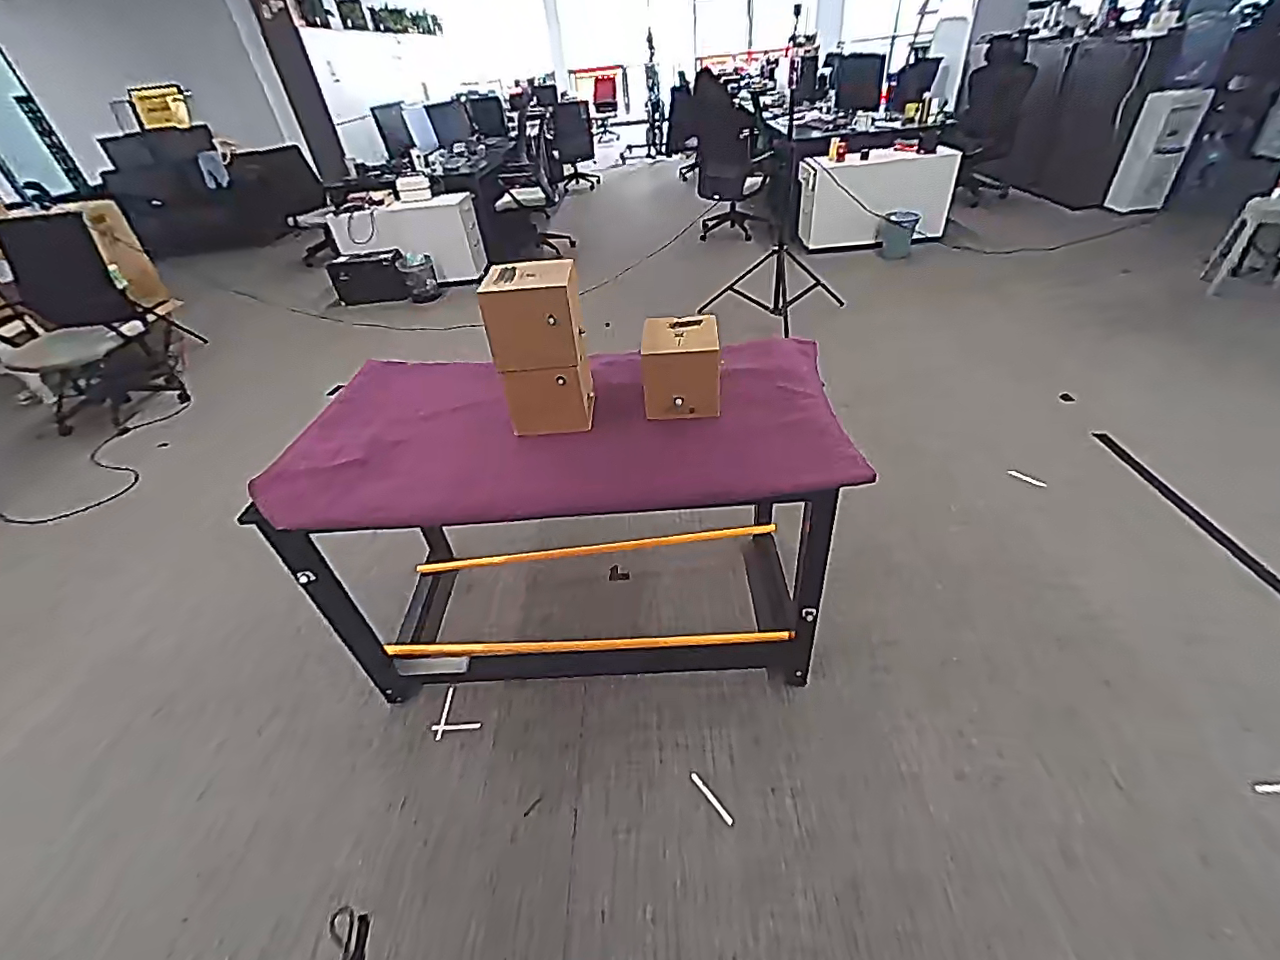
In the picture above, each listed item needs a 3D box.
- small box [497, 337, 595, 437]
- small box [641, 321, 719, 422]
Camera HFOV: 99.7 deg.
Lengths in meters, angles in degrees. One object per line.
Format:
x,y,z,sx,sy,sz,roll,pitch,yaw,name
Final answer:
-0.206,-0.209,1.233,0.179,0.176,0.168,-4,38,3,small box
0.094,-0.247,1.235,0.168,0.176,0.179,-2,39,6,small box
